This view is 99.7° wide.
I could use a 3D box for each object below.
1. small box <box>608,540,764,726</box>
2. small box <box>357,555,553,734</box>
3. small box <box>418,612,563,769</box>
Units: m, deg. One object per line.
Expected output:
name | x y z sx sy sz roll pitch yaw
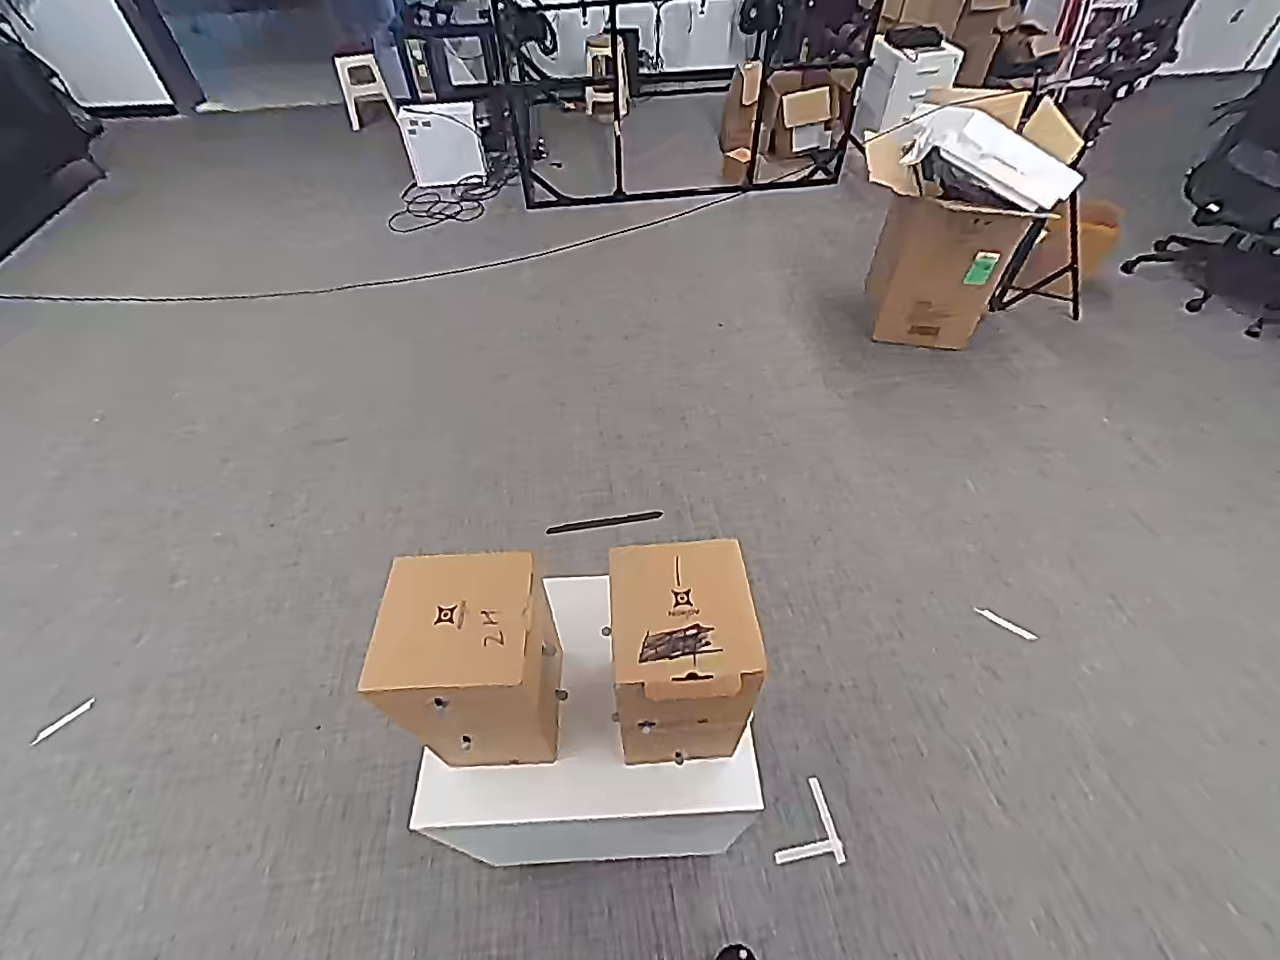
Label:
small box | 0.049 0.199 0.683 0.168 0.176 0.179 -4 49 -2
small box | -0.212 0.209 0.678 0.179 0.176 0.168 -2 51 -1
small box | -0.209 0.312 0.807 0.168 0.176 0.179 -2 49 0
